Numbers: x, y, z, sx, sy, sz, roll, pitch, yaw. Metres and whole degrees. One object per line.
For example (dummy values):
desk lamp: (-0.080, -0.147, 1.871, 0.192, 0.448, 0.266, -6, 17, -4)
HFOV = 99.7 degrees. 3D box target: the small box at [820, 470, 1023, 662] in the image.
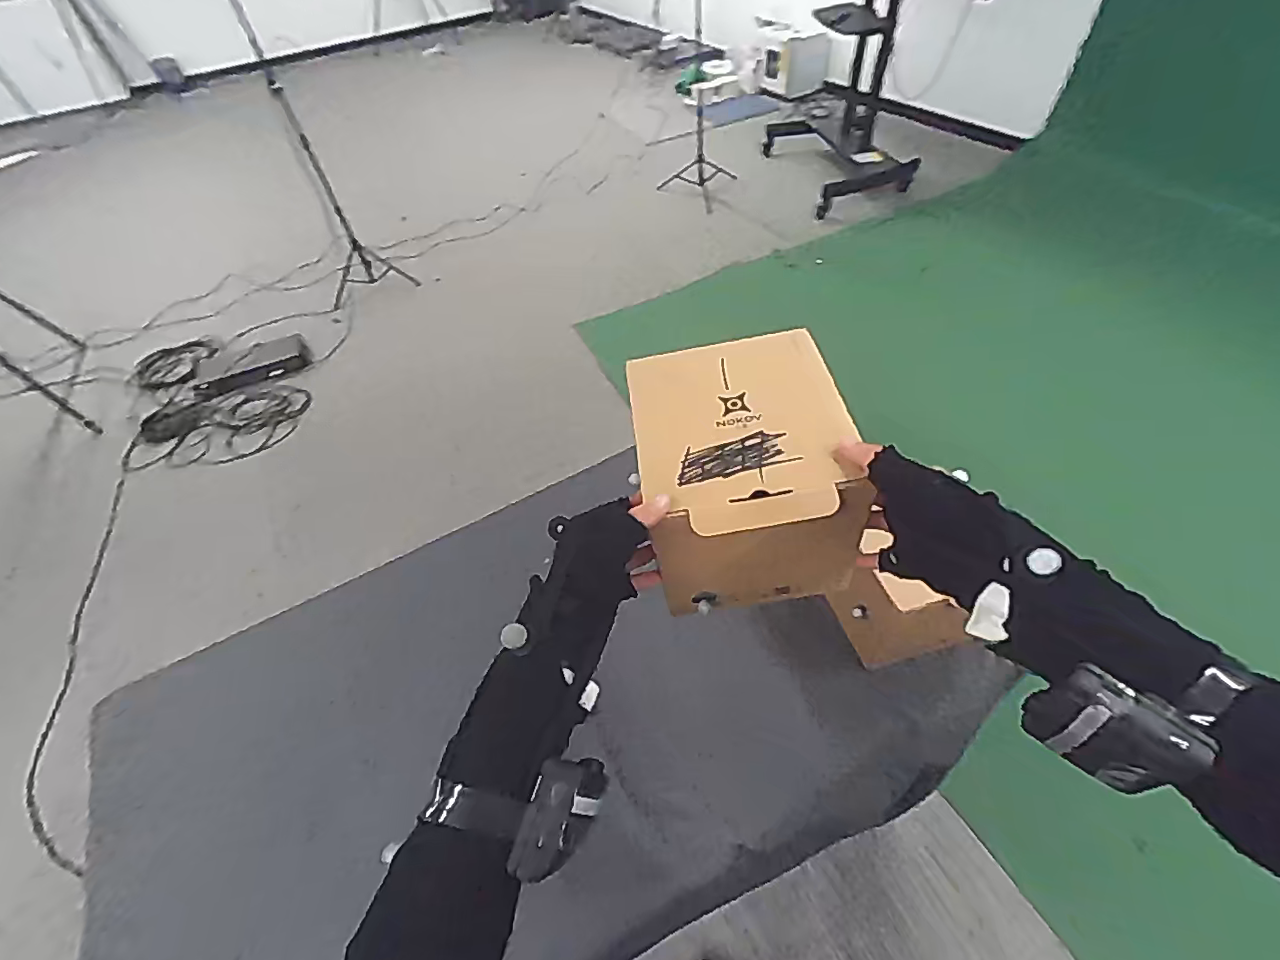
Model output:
small box: (0.343, 0.121, 0.717, 0.168, 0.176, 0.179, -15, 48, -7)

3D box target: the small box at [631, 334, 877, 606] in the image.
small box: (0.091, 0.000, 0.489, 0.168, 0.176, 0.179, -10, 50, 4)
